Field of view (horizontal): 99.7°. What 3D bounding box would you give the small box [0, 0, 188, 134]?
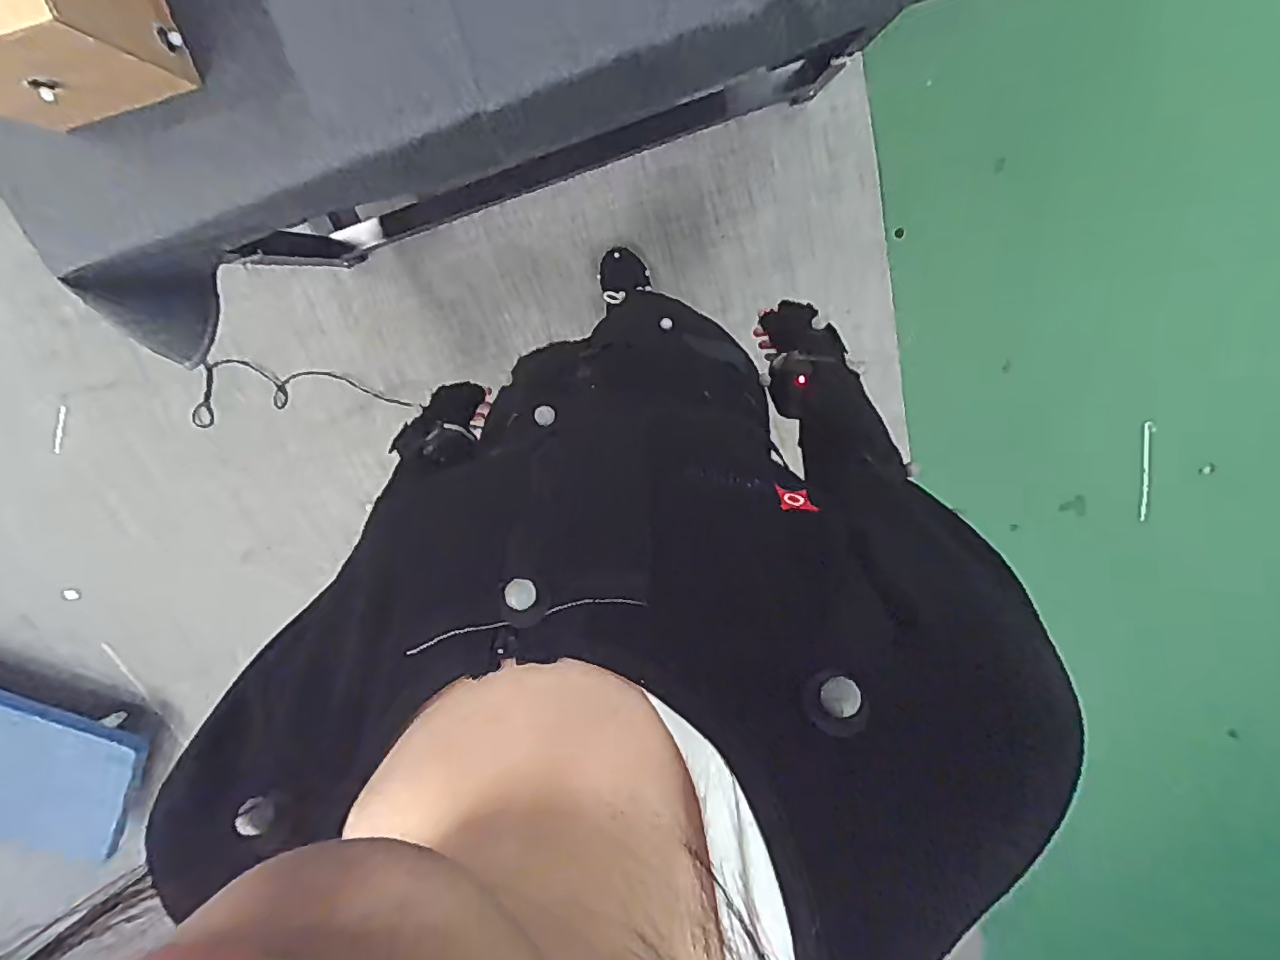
[{"bbox_3d":[-0.574,-0.448,0.496,0.179,0.176,0.168,-14,110,4],"label":"small box"}]
